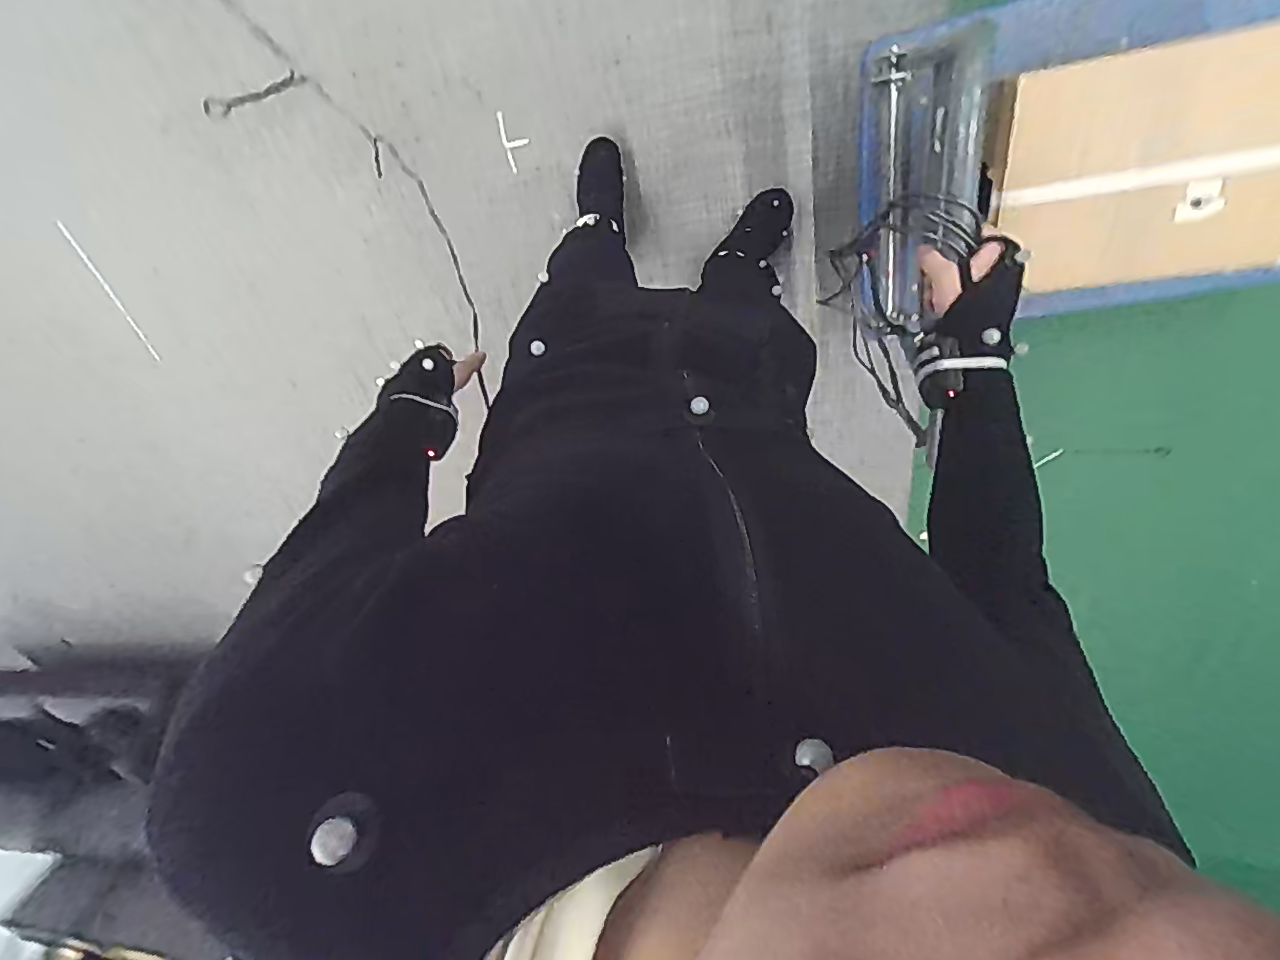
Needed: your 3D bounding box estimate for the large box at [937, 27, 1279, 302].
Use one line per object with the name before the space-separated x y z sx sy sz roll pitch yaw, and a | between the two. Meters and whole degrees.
large box | 0.773 -0.520 0.913 0.408 0.320 0.320 -3 123 13
